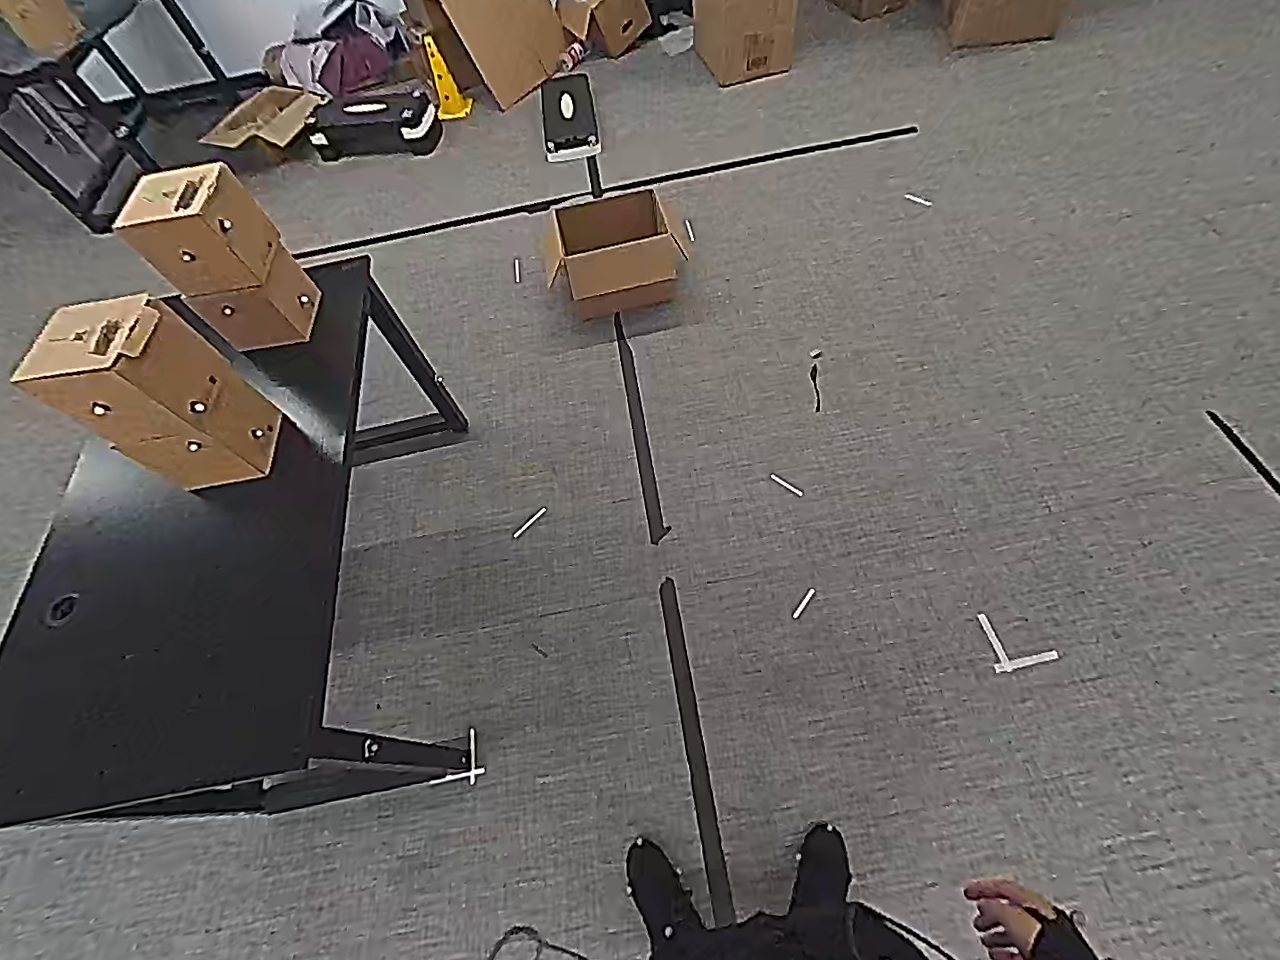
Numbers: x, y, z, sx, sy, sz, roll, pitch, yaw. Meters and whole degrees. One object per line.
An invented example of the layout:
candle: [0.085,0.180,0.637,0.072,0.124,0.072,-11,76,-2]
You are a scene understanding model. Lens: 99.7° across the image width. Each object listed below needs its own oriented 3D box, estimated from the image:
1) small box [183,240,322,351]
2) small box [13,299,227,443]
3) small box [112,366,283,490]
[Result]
small box: [-0.881,-0.418,1.249,0.179,0.176,0.168,-7,61,3]
small box: [-0.866,-0.180,0.926,0.179,0.176,0.168,-7,59,4]
small box: [-0.857,-0.097,1.067,0.179,0.176,0.168,-11,60,1]
